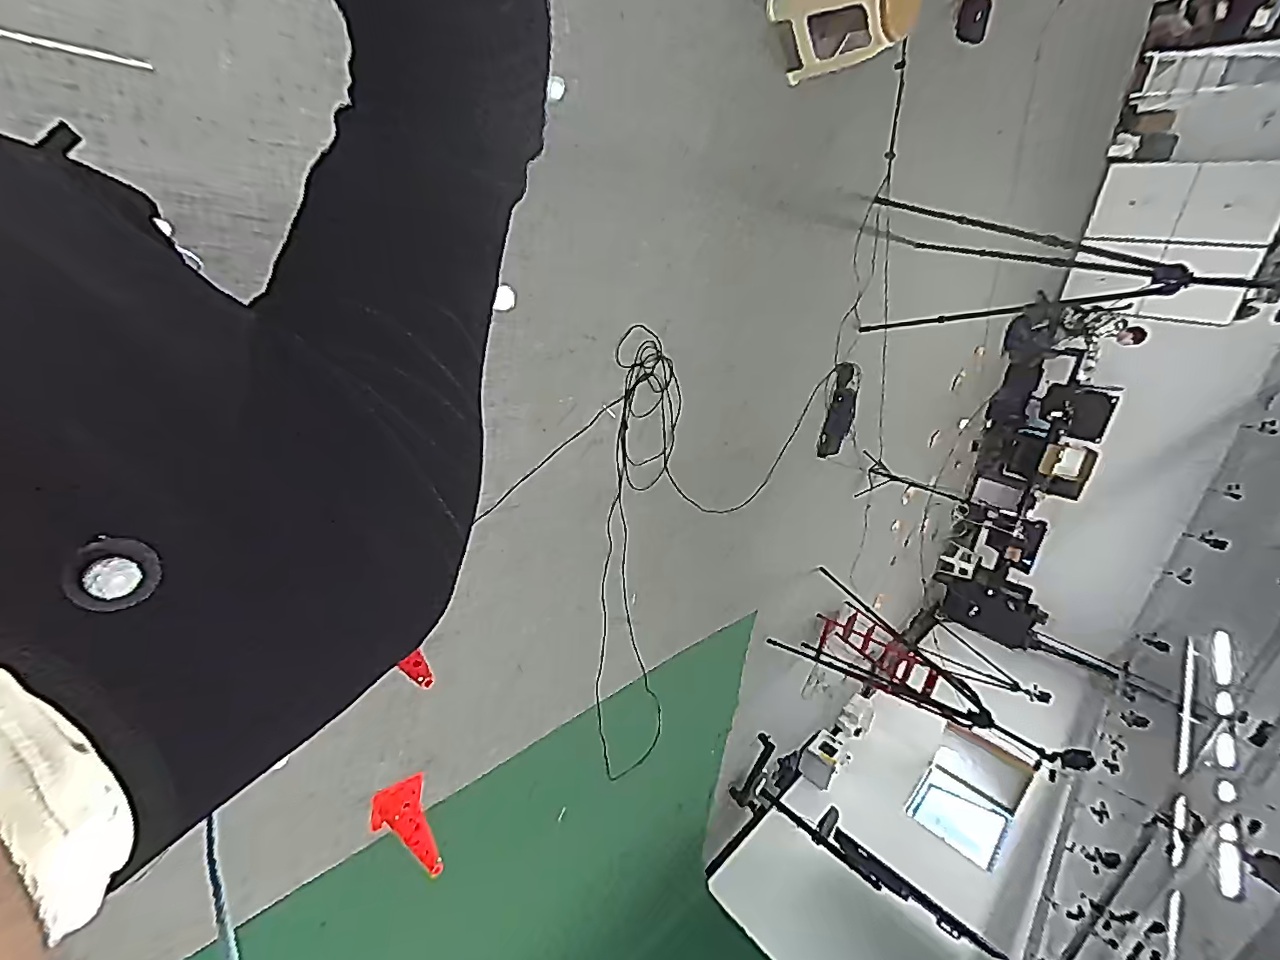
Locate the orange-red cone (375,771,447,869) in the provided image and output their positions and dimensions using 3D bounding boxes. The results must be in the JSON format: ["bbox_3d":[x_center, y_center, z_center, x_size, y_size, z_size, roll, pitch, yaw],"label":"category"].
[{"bbox_3d":[-0.849,1.349,2.091,0.199,0.360,0.198,-7,115,-48],"label":"orange-red cone"}]
